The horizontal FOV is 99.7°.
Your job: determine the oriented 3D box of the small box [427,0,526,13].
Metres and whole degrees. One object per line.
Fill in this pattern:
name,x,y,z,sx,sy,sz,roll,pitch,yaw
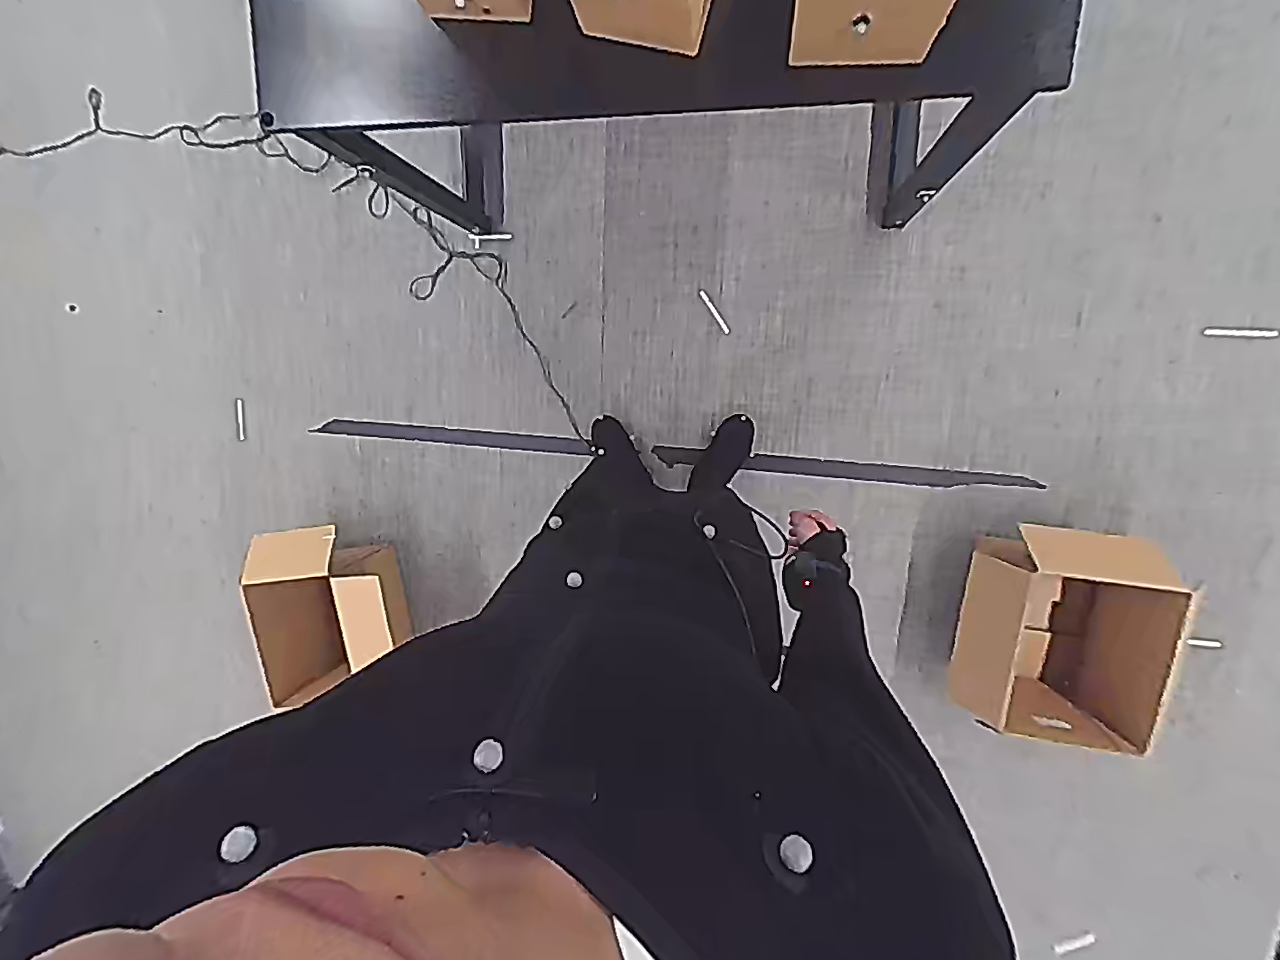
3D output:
small box,-0.247,-0.764,0.703,0.168,0.176,0.179,10,102,9

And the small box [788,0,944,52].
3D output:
small box,0.276,-0.636,0.628,0.179,0.176,0.168,6,101,10

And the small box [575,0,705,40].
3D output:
small box,0.005,-0.693,0.670,0.179,0.176,0.168,17,102,8
